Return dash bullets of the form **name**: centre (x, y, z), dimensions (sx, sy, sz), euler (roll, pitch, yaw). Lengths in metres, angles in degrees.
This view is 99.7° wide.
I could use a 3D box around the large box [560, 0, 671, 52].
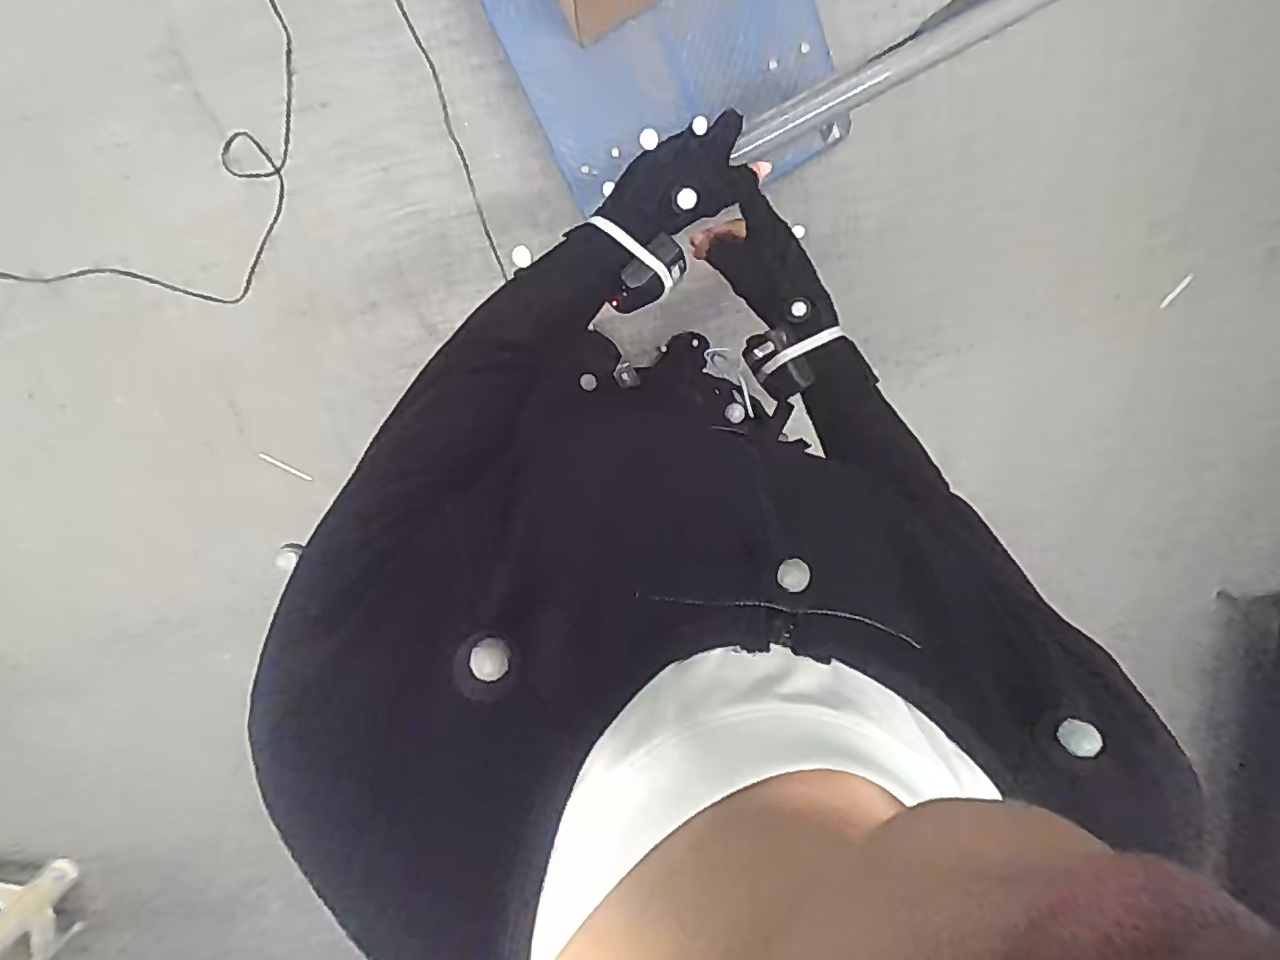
- **large box**: centre (0.002, -1.006, 0.855), dimensions (0.408, 0.320, 0.320), euler (-27, 105, 7)
